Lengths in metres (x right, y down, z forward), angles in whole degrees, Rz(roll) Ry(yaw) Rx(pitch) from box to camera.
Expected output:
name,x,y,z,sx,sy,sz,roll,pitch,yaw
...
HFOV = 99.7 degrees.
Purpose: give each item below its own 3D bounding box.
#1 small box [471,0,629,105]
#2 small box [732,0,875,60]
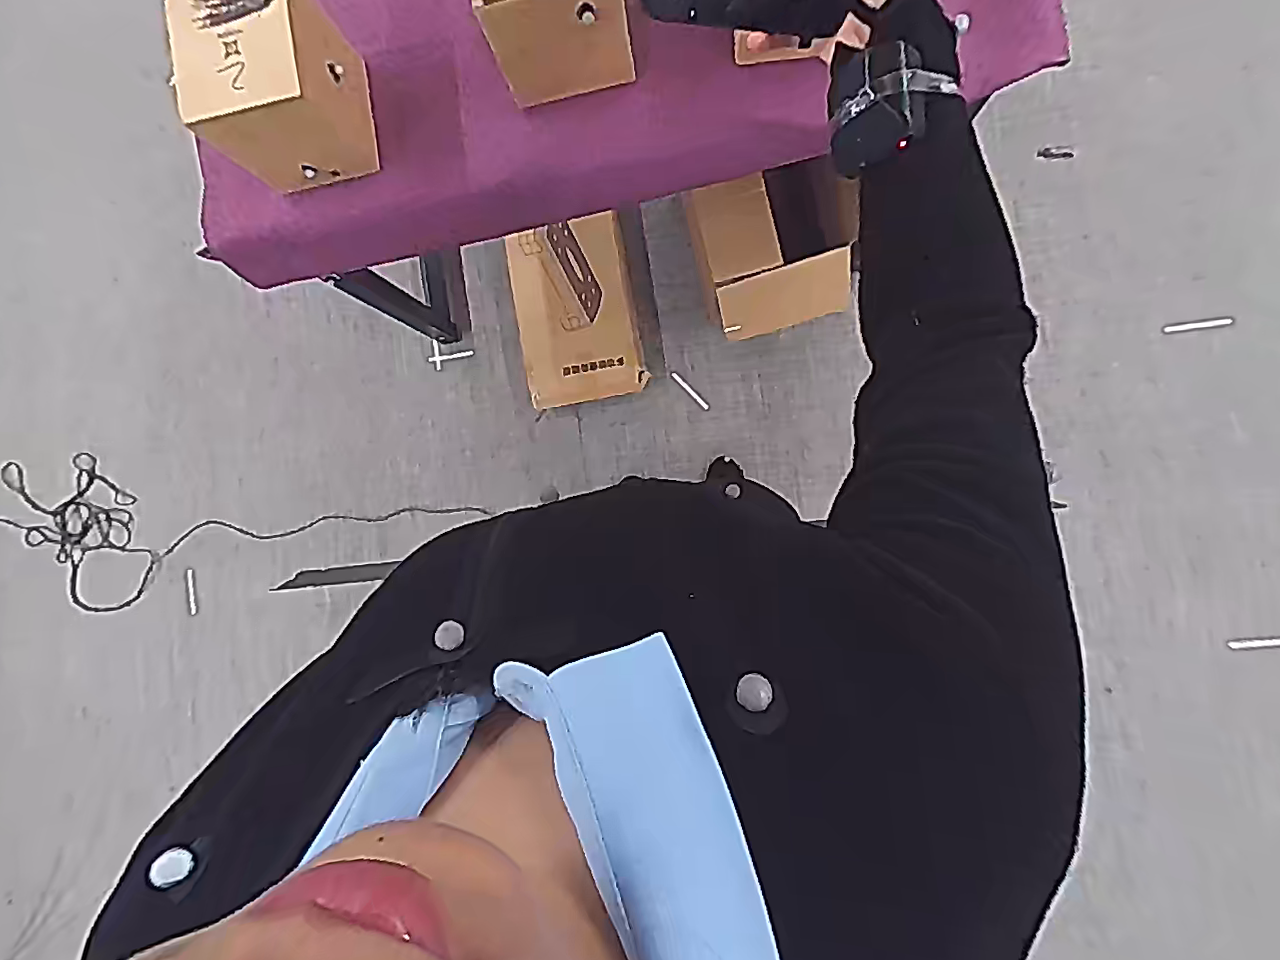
name,x,y,z,sx,sy,sz,roll,pitch,yaw
small box,-0.113,-0.633,0.698,0.179,0.176,0.168,-10,86,6
small box,0.203,-0.662,0.665,0.179,0.176,0.168,-2,89,6
